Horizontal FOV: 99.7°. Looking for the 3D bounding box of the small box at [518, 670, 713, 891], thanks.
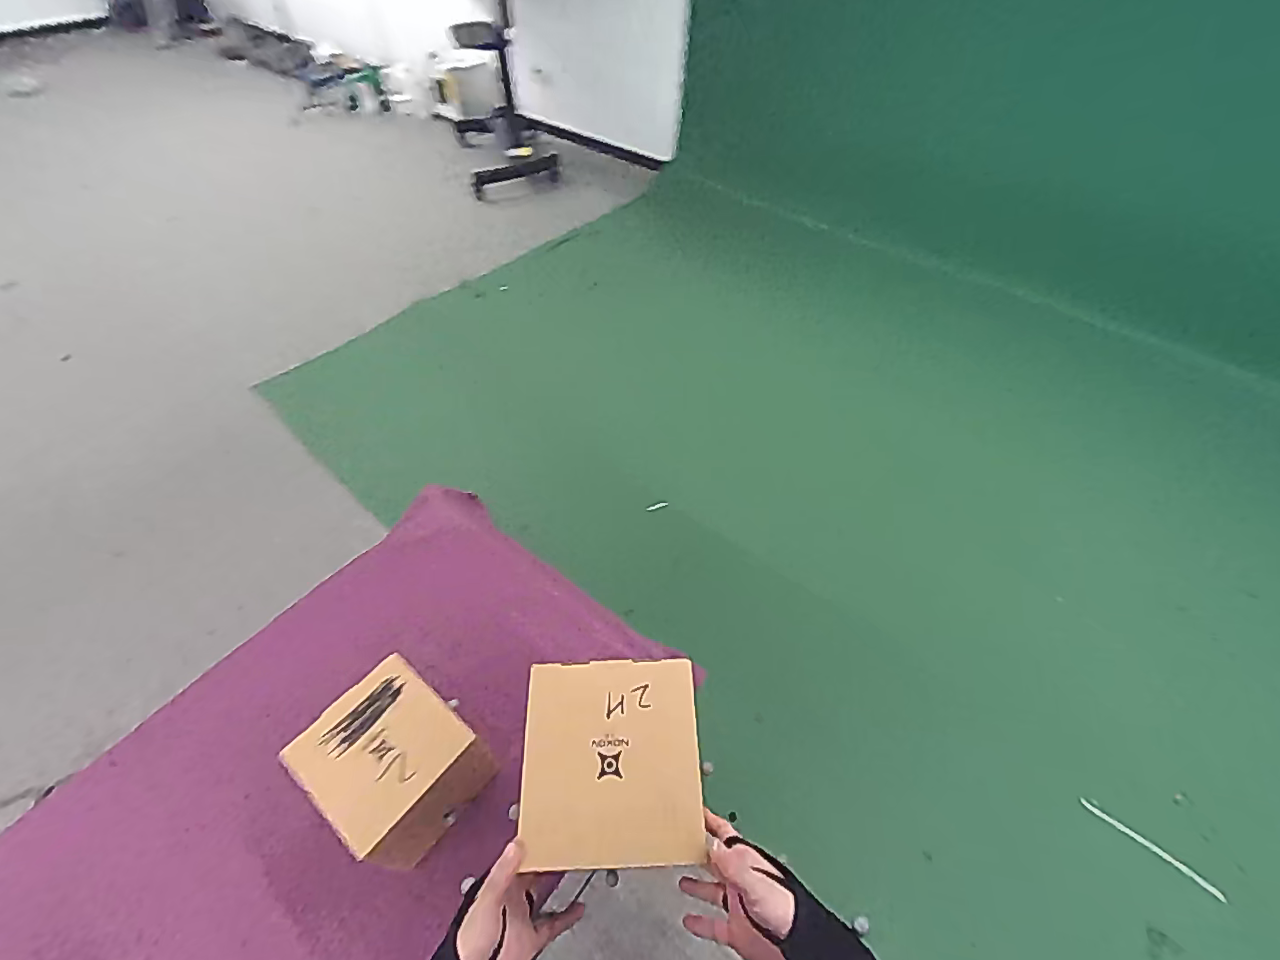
[{"bbox_3d":[-0.017,0.307,0.554,0.168,0.176,0.179,0,54,1],"label":"small box"}]
